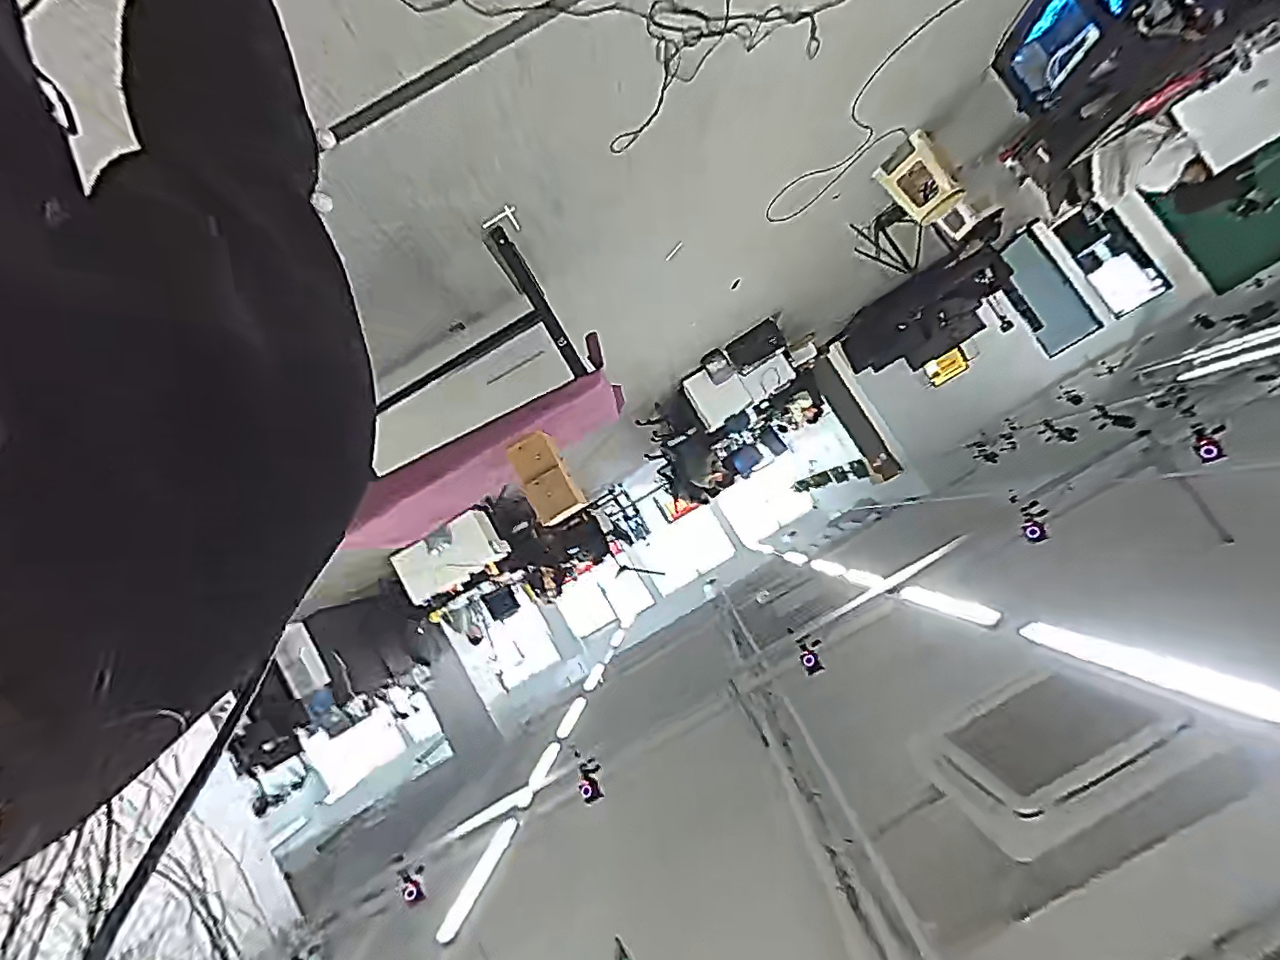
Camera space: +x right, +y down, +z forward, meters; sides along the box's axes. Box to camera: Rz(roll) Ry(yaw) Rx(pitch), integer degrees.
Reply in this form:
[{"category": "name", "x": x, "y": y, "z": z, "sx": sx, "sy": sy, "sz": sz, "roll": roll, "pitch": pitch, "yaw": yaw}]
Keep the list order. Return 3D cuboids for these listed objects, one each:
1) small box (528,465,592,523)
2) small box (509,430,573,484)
[{"category": "small box", "x": -0.315, "y": 0.054, "z": 2.116, "sx": 0.168, "sy": 0.176, "sz": 0.179, "roll": -31, "pitch": 173, "yaw": 3}, {"category": "small box", "x": -0.396, "y": -0.084, "z": 2.160, "sx": 0.168, "sy": 0.176, "sz": 0.179, "roll": -31, "pitch": 174, "yaw": 2}]
